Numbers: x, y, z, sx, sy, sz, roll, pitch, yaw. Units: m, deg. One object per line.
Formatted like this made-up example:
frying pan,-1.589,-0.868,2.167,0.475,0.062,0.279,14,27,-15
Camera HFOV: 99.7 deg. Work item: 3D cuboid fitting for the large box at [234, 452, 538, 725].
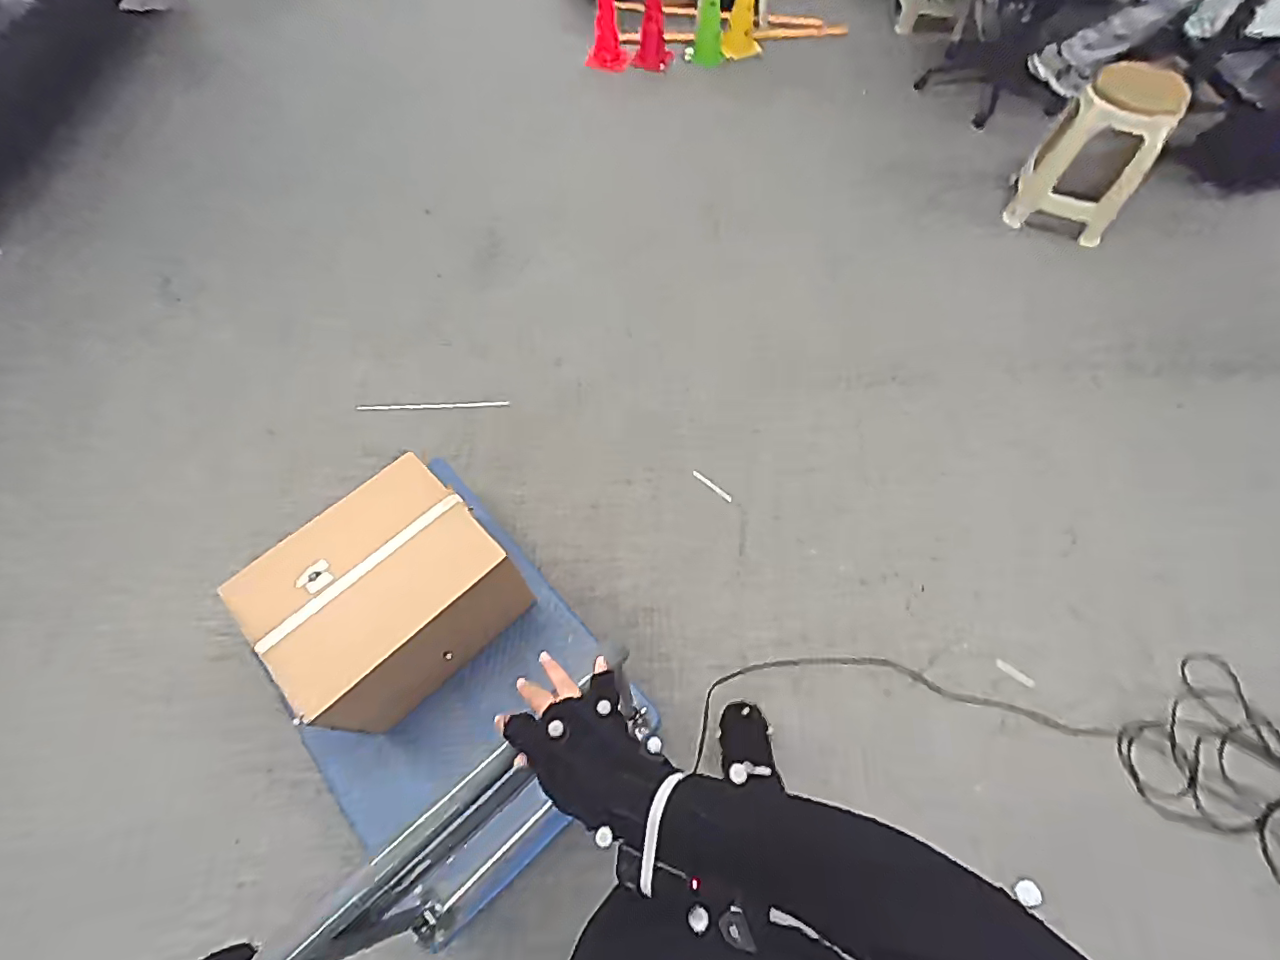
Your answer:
large box,-0.473,0.227,1.101,0.408,0.320,0.320,-41,69,-19
